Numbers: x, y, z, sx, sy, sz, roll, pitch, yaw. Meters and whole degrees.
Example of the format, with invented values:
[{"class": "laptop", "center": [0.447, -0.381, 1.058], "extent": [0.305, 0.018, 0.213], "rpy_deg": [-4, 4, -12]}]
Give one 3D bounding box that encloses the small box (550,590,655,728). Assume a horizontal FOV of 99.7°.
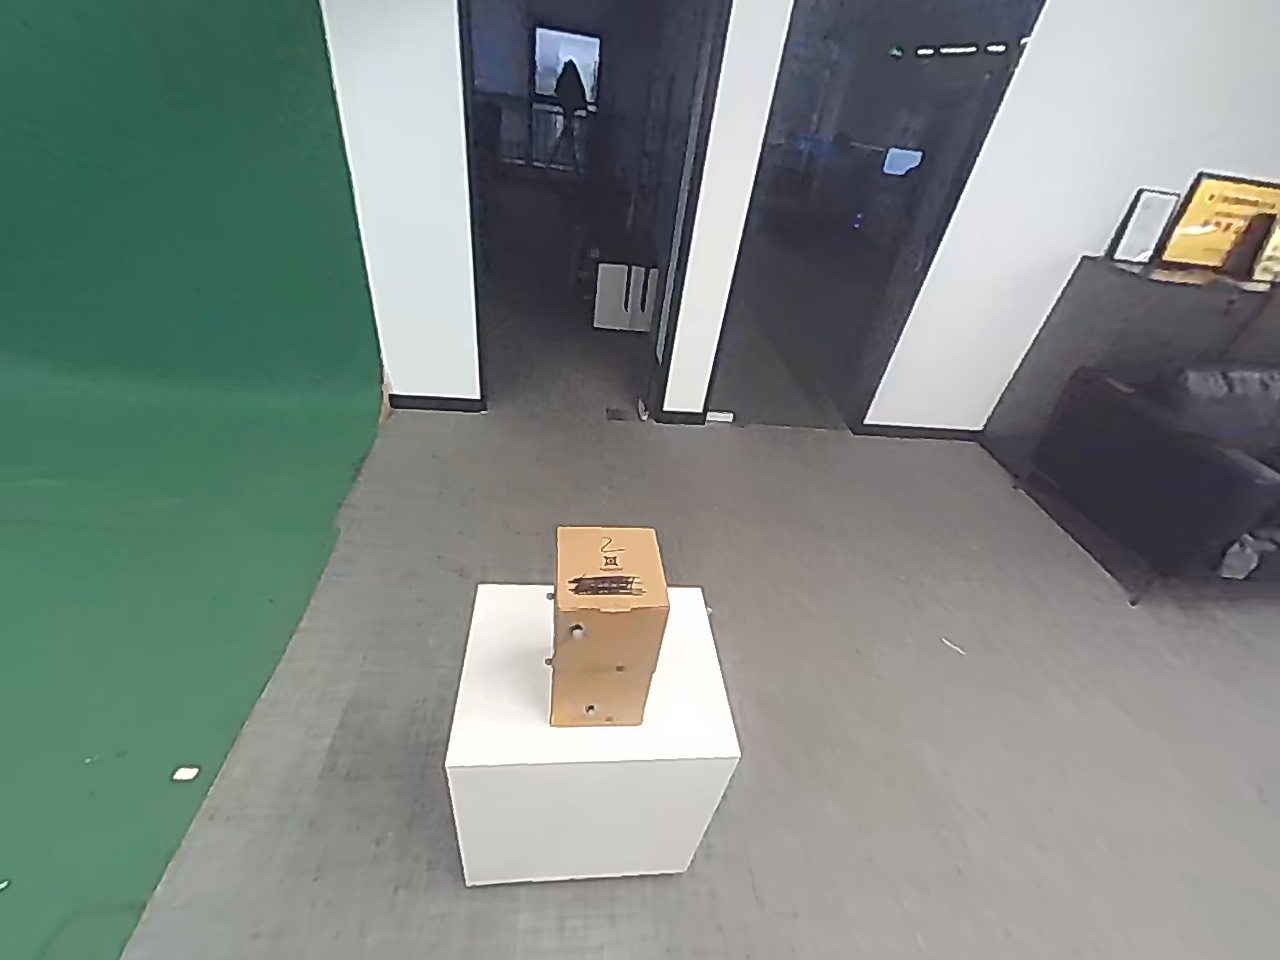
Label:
[{"class": "small box", "center": [-0.074, 0.322, 0.978], "extent": [0.168, 0.176, 0.179], "rpy_deg": [3, 35, -9]}]
